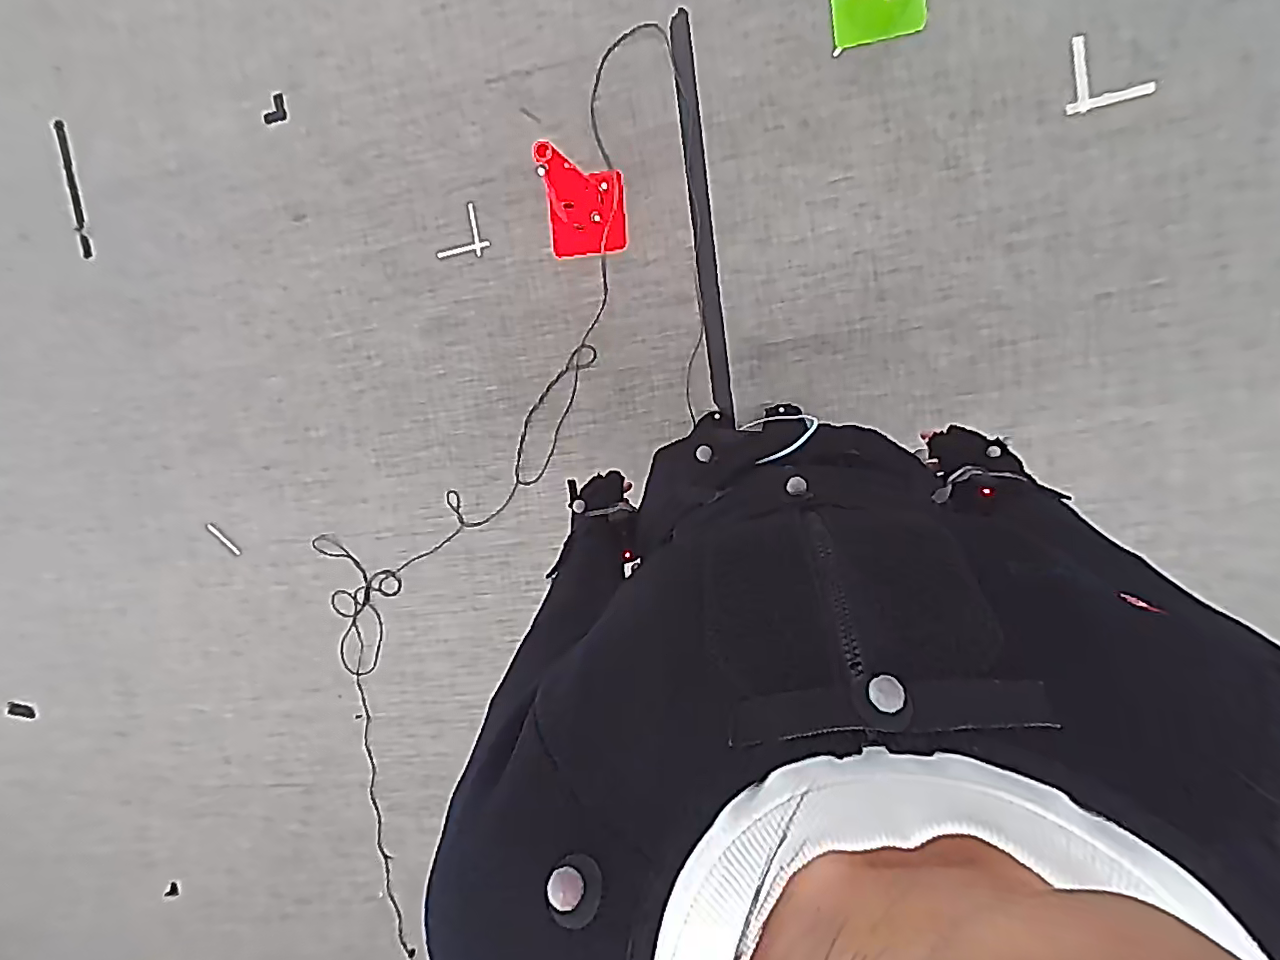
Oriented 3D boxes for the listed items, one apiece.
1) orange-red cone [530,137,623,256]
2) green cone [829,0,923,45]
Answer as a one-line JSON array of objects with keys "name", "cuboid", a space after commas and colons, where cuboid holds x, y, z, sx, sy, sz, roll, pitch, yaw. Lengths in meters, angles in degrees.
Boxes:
[{"name": "orange-red cone", "cuboid": [-0.171, -0.665, 1.223, 0.199, 0.360, 0.198, -2, 96, 11]}, {"name": "green cone", "cuboid": [0.507, -1.085, 1.056, 0.202, 0.368, 0.200, -7, 96, 9]}]
